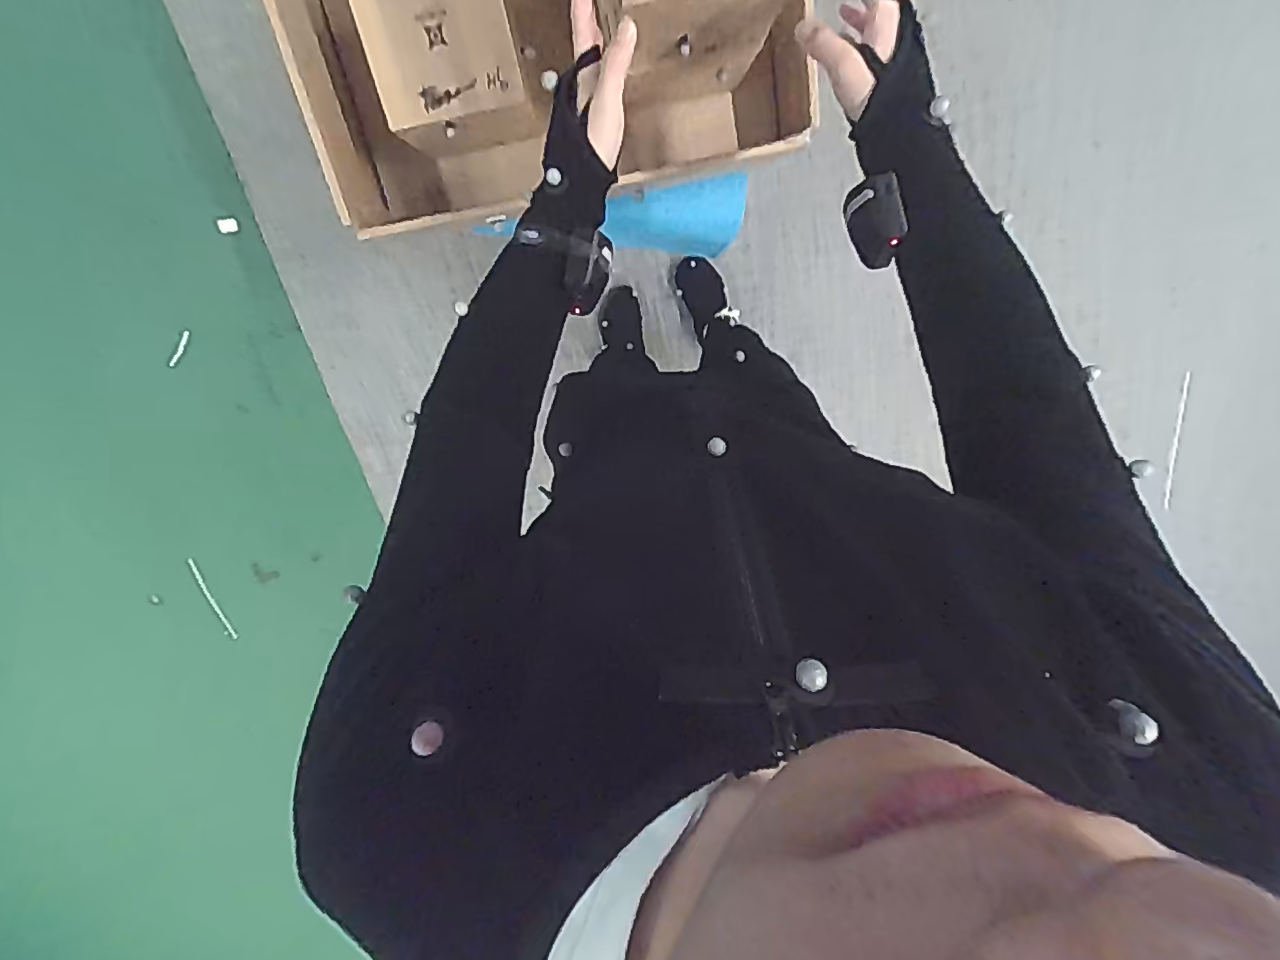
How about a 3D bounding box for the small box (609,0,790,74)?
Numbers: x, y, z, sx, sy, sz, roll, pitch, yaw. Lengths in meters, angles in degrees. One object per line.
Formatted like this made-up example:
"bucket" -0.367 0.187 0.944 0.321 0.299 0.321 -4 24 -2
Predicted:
"small box" 0.047 -0.531 0.515 0.168 0.176 0.179 -10 111 1
